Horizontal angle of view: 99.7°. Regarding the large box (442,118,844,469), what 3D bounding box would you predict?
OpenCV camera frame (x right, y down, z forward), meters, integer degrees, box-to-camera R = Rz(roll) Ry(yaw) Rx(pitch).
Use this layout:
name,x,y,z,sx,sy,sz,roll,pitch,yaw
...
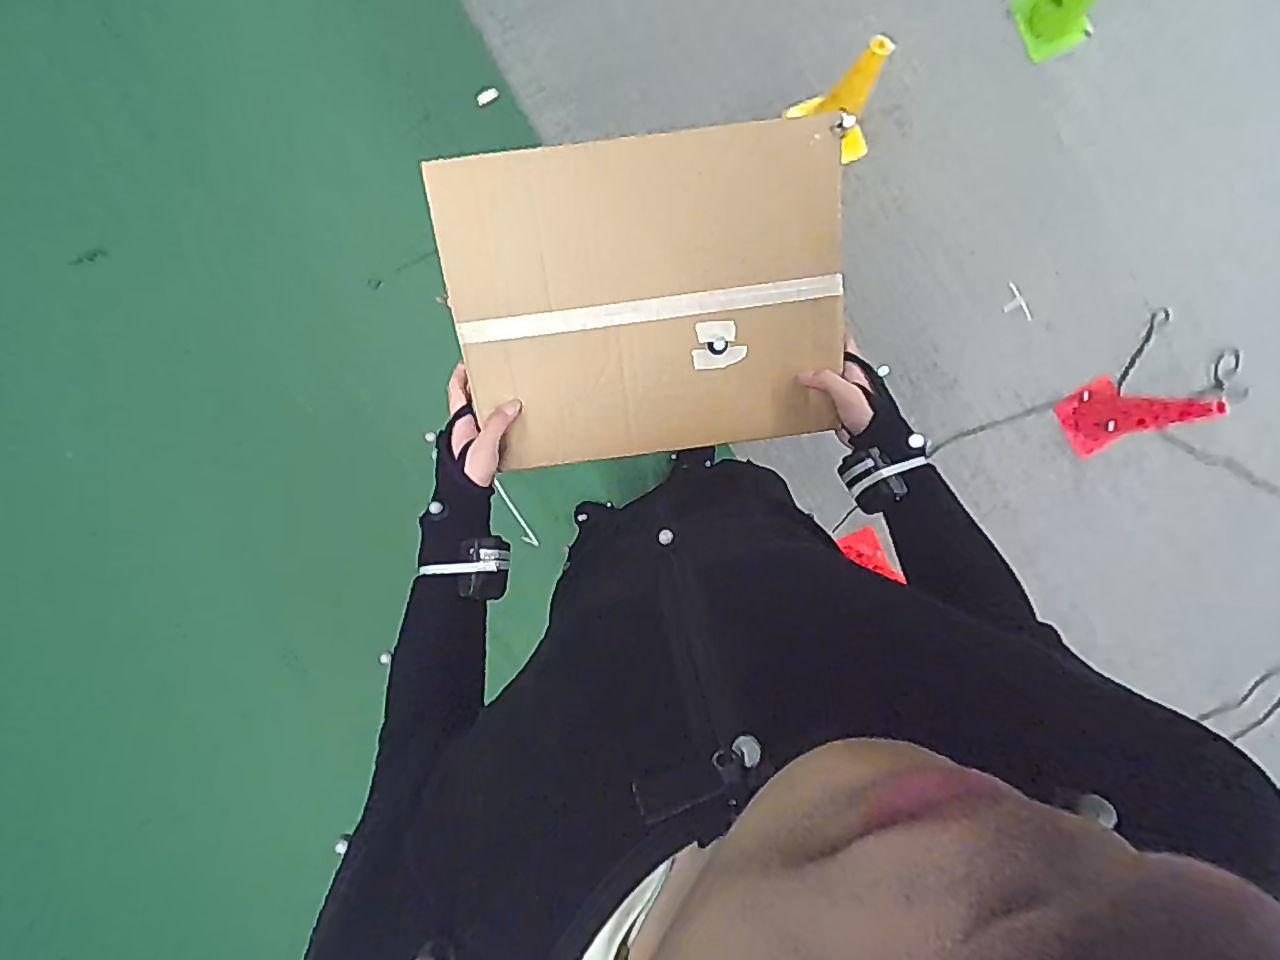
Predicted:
name,x,y,z,sx,sy,sz,roll,pitch,yaw
large box,0.010,-0.229,0.714,0.408,0.320,0.320,-8,109,-1

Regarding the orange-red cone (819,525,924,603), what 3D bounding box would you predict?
name,x,y,z,sx,sy,sz,roll,pitch,yaw
orange-red cone,0.678,0.271,1.502,0.198,0.360,0.199,-25,96,1

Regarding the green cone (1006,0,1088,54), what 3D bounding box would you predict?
name,x,y,z,sx,sy,sz,roll,pitch,yaw
green cone,1.196,-1.370,1.413,0.202,0.368,0.200,-26,94,1
